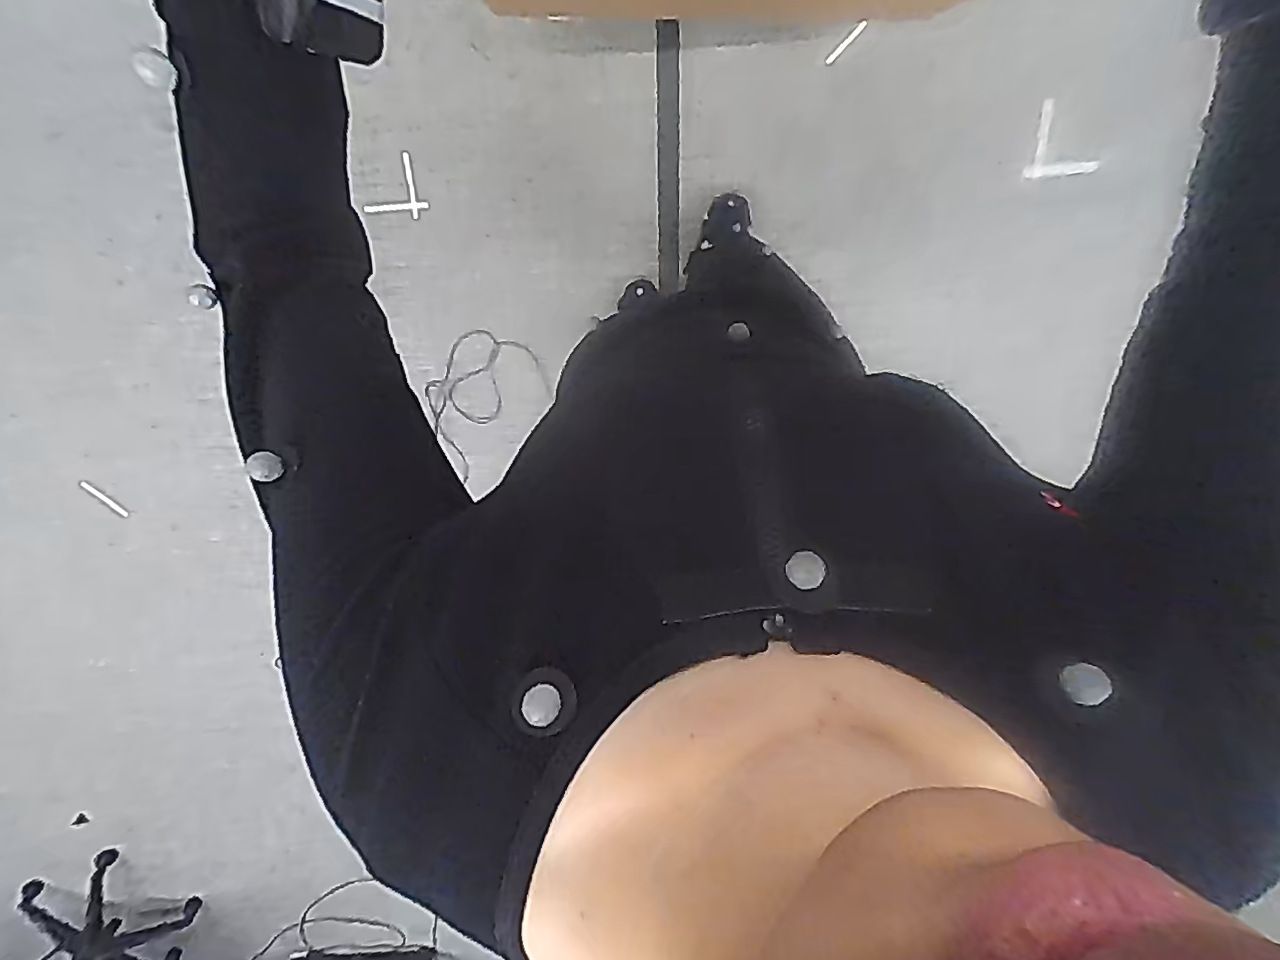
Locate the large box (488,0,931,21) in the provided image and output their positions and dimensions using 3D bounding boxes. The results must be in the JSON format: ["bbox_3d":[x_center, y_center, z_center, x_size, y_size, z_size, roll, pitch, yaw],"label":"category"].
[{"bbox_3d":[0.064,-0.493,0.298,0.408,0.320,0.320,-1,120,-1],"label":"large box"}]
